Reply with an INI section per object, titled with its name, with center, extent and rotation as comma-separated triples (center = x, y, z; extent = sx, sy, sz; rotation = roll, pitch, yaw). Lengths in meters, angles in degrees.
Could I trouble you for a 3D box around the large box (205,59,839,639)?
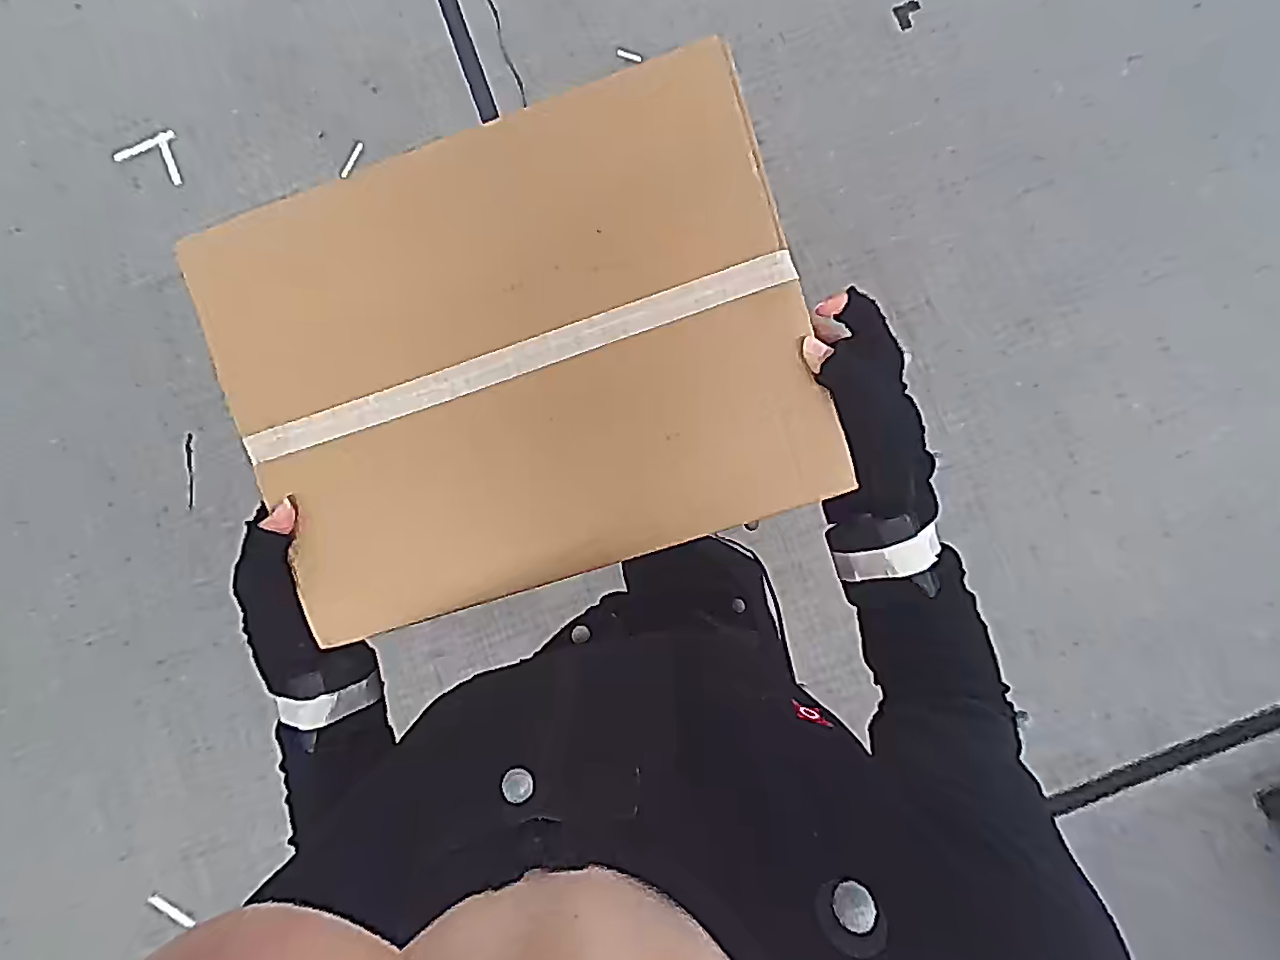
[large box]
center = -0.080, -0.094, 0.539
extent = 0.408, 0.320, 0.320
rotation = -18, 92, 5
